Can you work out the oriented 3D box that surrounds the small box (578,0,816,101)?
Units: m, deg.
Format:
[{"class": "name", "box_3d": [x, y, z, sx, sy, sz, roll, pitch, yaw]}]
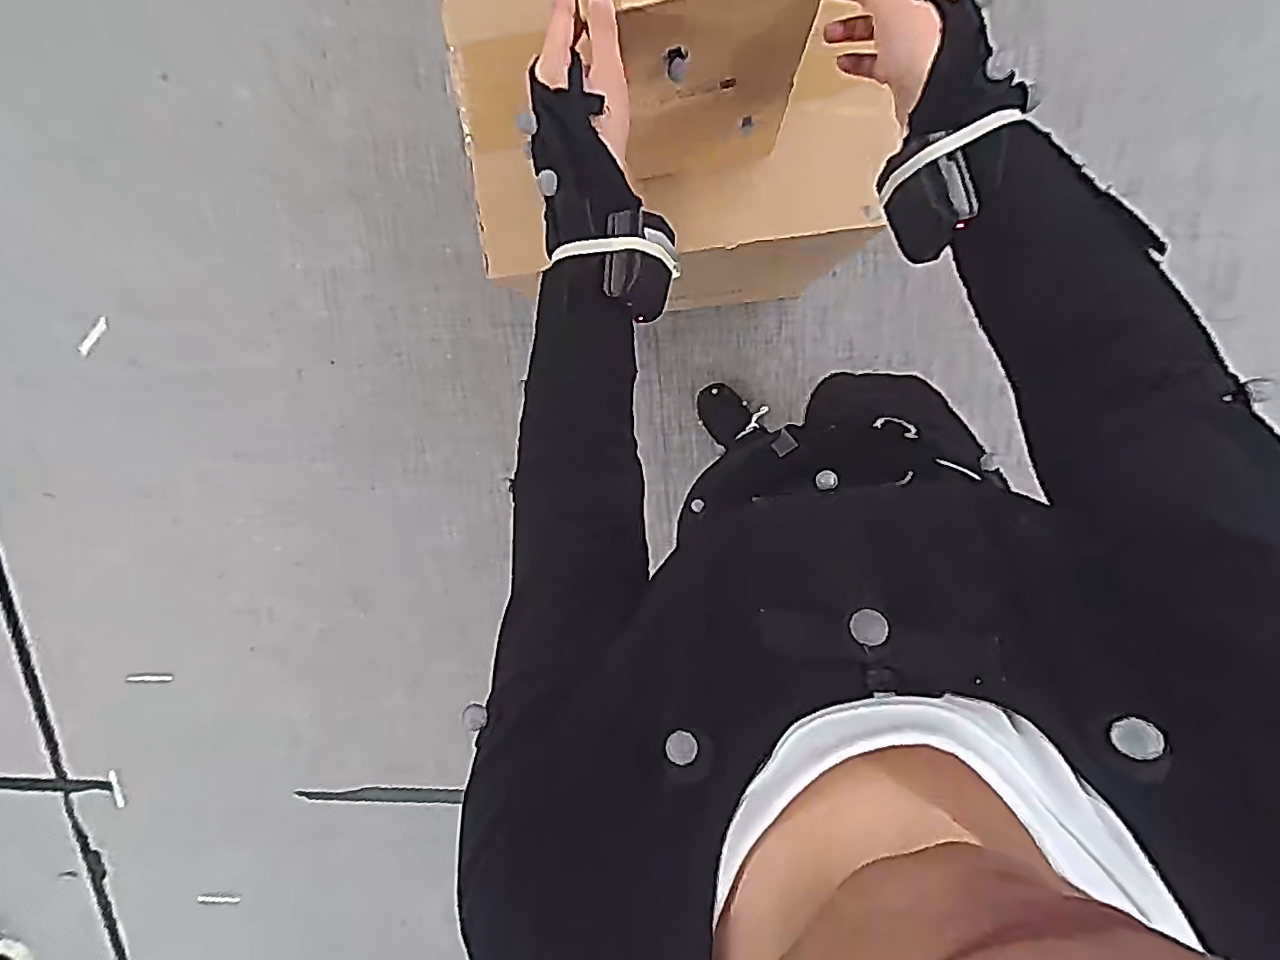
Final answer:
[{"class": "small box", "box_3d": [0.040, -0.412, 0.394, 0.168, 0.176, 0.179, -7, 102, 9]}]
